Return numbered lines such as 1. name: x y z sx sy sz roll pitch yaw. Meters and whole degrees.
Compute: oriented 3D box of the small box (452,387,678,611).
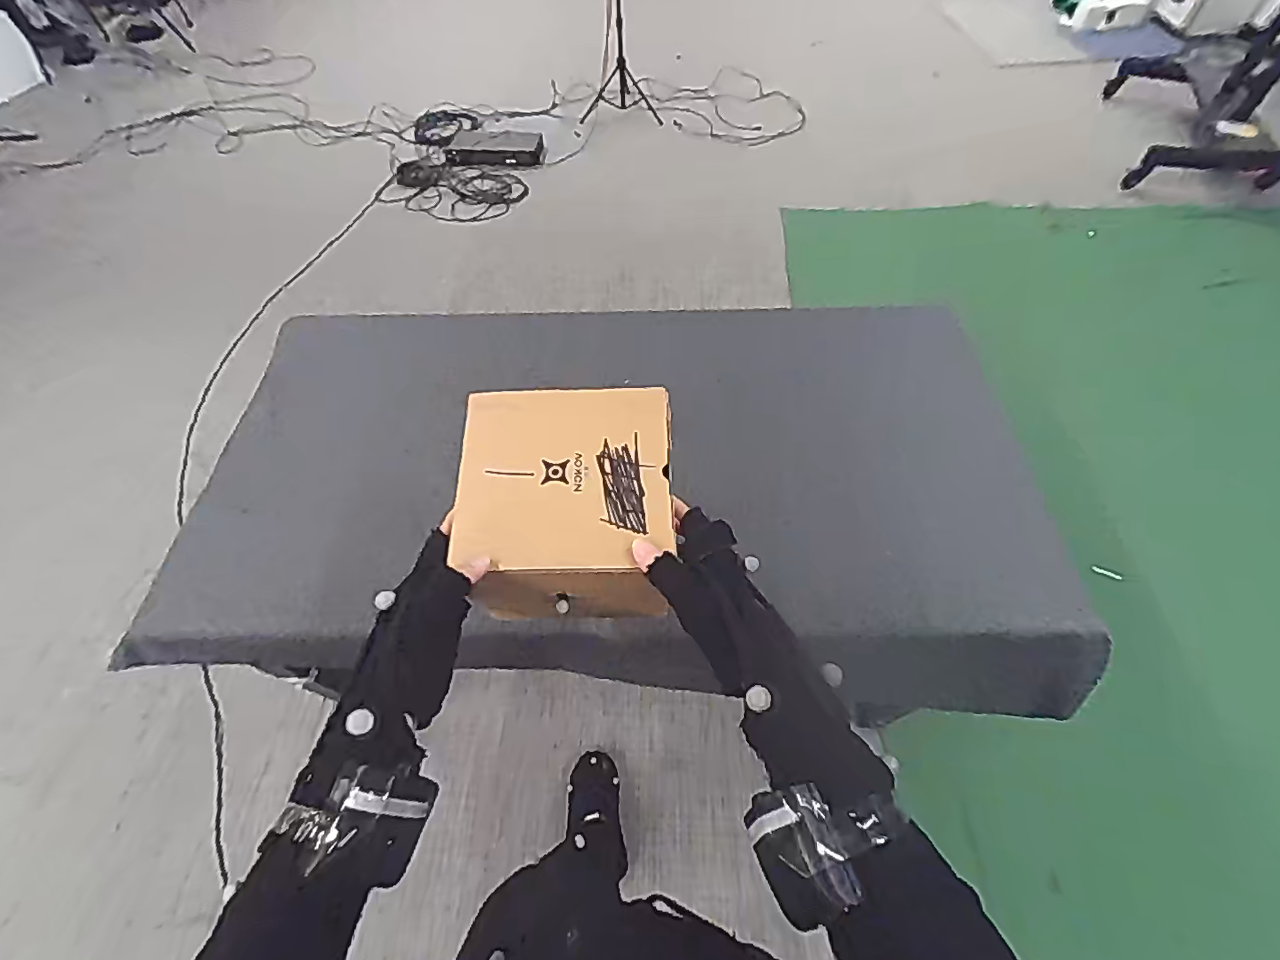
1. small box: -0.059 0.026 0.519 0.179 0.176 0.168 -1 64 0
